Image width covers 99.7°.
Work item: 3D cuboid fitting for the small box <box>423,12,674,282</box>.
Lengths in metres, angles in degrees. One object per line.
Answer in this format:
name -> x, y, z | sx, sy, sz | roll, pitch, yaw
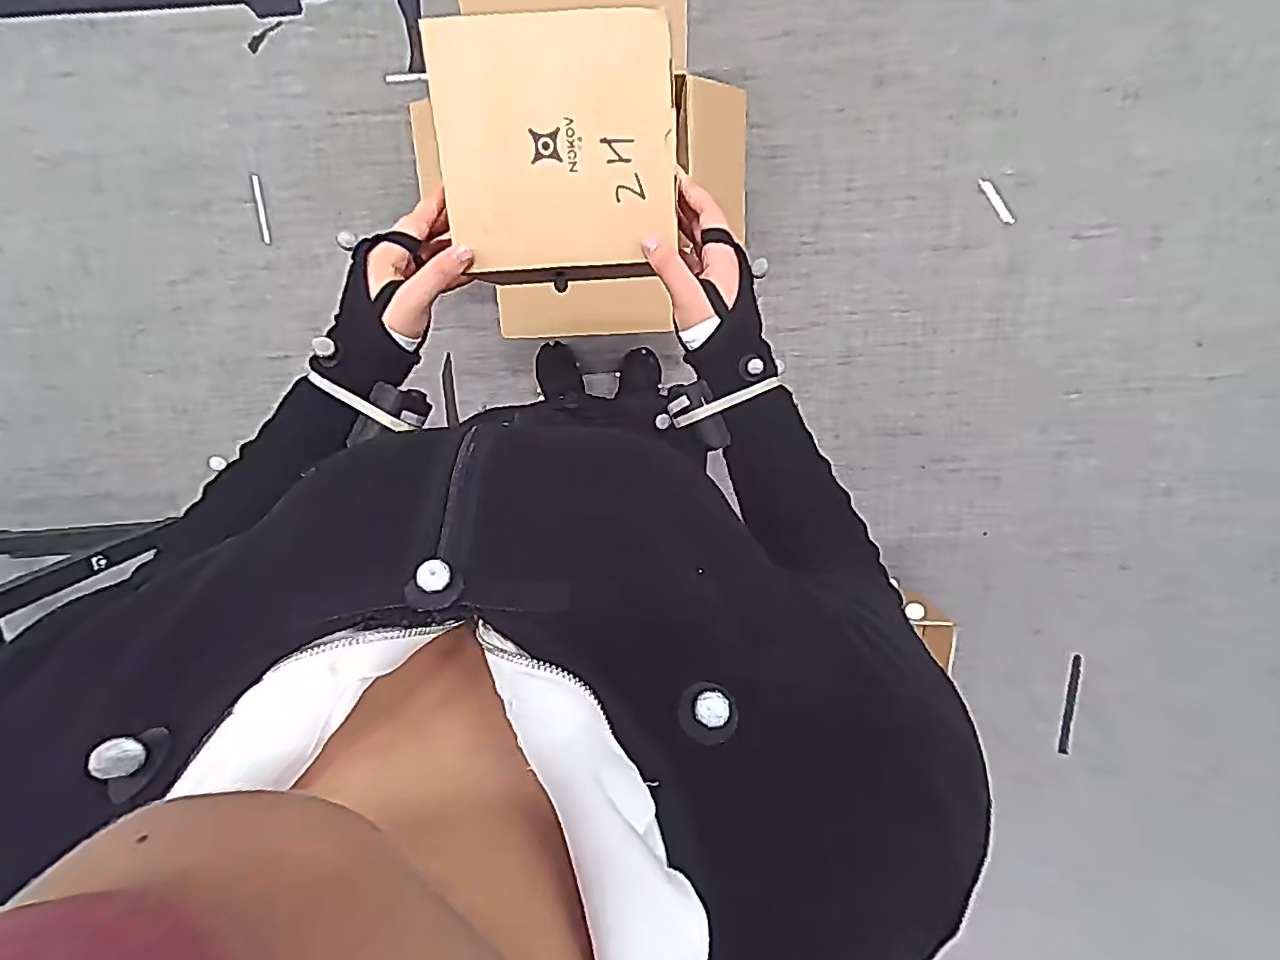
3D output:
small box -> -0.066, -0.271, 0.479 | 0.179, 0.176, 0.168 | -4, 107, -2
